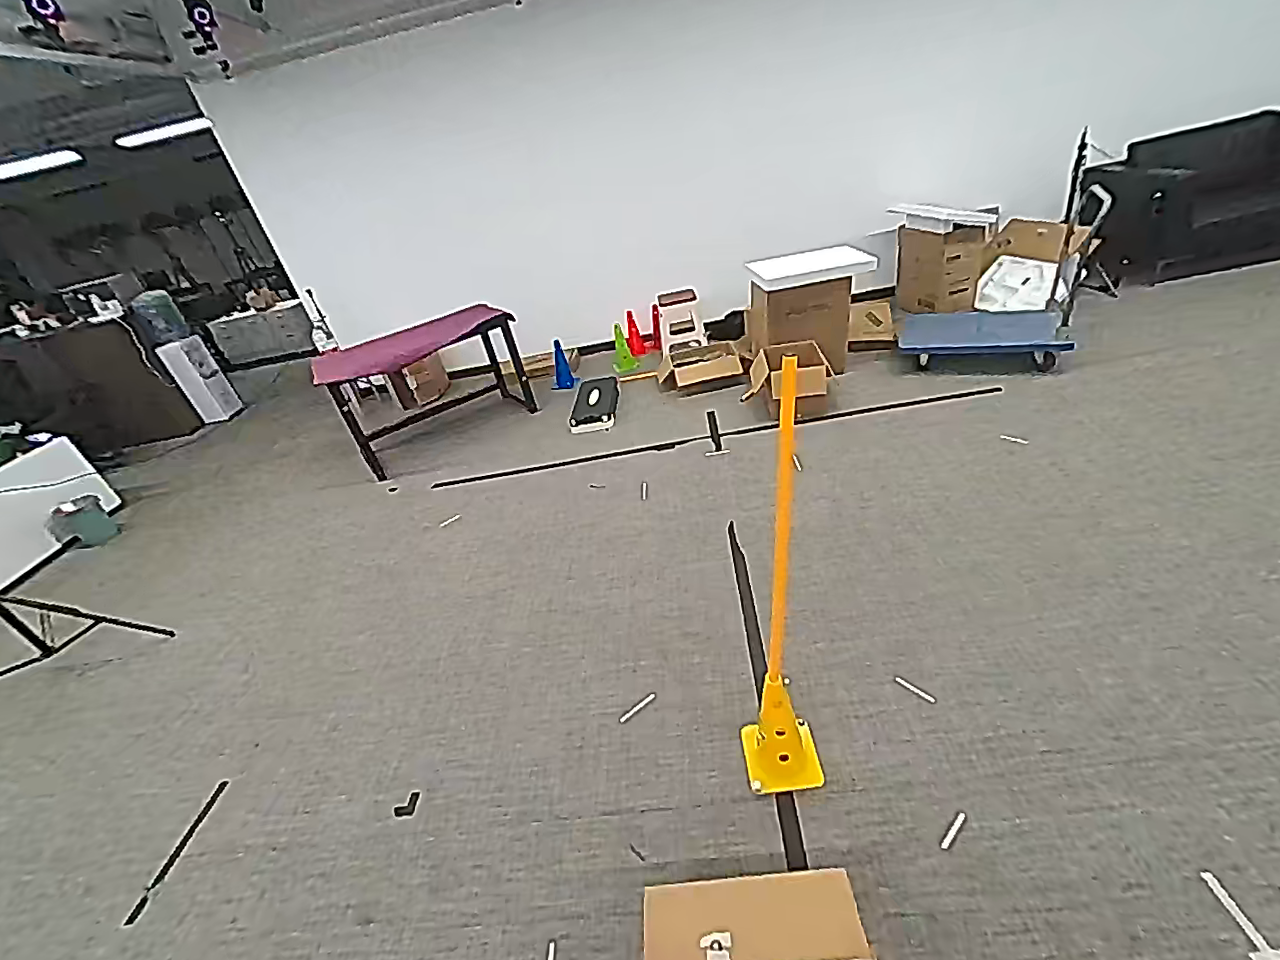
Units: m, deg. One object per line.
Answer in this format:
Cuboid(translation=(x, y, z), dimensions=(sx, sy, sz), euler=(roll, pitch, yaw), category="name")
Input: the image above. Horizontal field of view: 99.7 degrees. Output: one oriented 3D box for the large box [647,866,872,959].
Cuboid(translation=(0.244, 0.998, 1.027), dimensions=(0.408, 0.320, 0.320), euler=(-11, 31, 6), category="large box")
